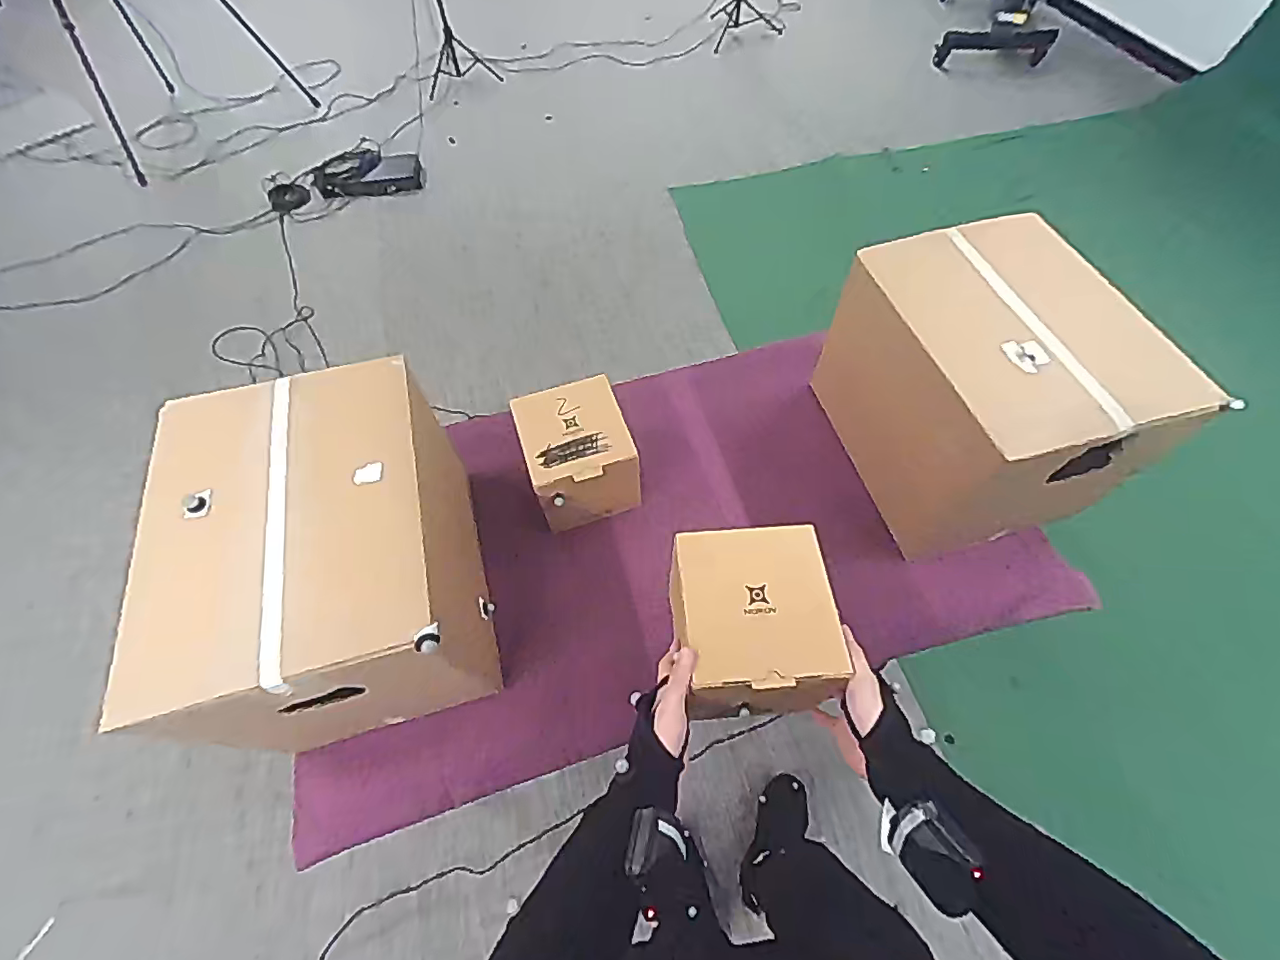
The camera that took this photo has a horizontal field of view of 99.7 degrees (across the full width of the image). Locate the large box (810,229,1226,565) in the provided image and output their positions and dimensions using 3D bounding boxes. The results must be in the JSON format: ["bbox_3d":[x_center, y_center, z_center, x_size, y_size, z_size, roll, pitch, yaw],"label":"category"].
[{"bbox_3d":[0.531,-0.130,0.876,0.320,0.320,0.408,-14,60,-6],"label":"large box"}]

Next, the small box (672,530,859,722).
[{"bbox_3d":[0.132,0.178,0.649,0.168,0.176,0.179,-3,57,-3],"label":"small box"}]
